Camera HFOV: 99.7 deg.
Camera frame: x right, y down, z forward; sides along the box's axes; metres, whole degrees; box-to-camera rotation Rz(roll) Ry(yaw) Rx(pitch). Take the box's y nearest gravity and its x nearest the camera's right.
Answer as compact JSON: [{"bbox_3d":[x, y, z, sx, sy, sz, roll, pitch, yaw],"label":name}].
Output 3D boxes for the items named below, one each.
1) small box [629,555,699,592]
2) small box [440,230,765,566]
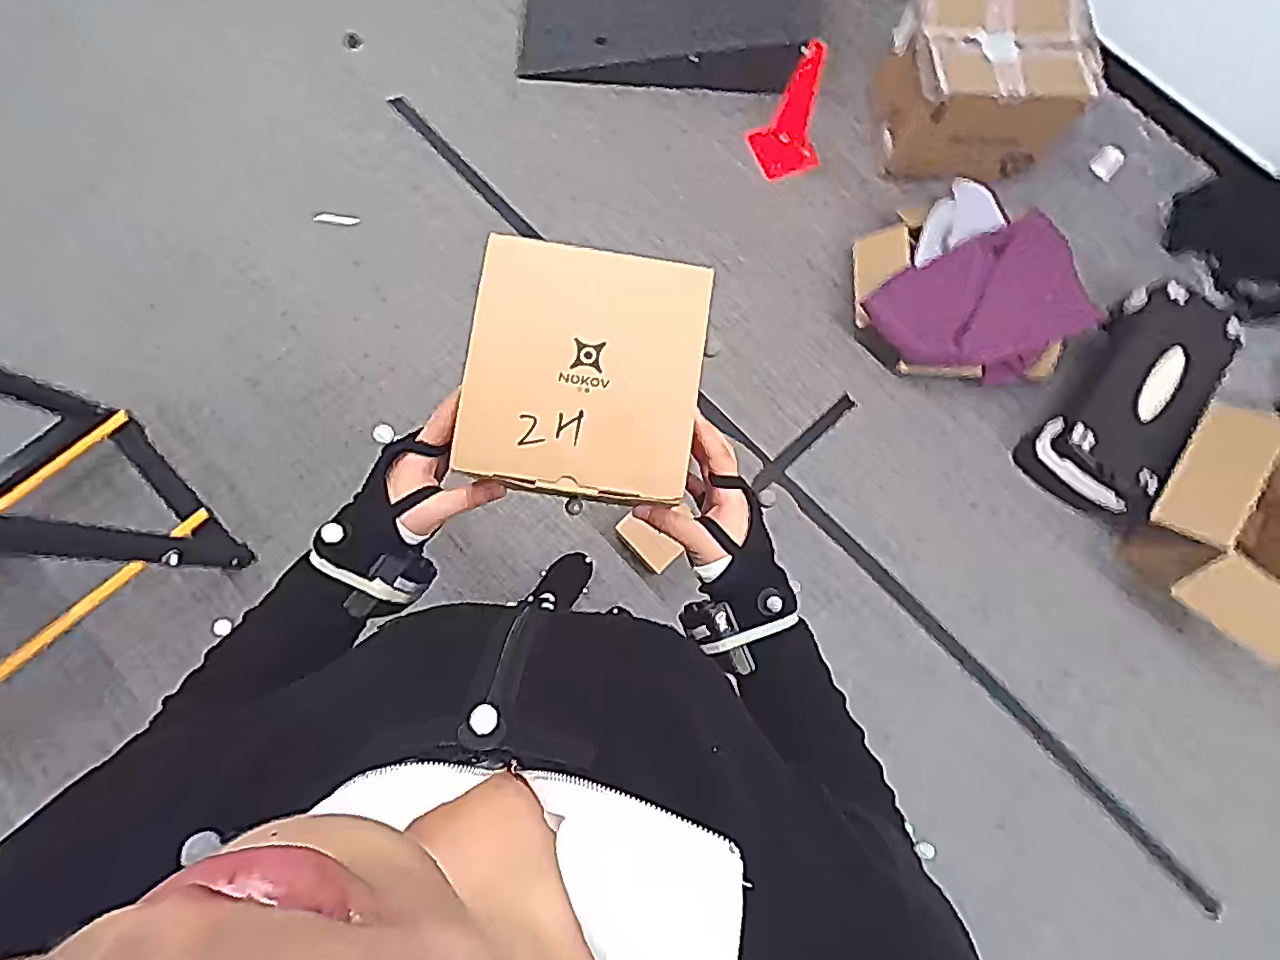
[{"bbox_3d":[0.073,0.167,1.381,0.179,0.176,0.168,-44,82,-9],"label":"small box"},{"bbox_3d":[-0.021,-0.040,0.379,0.168,0.176,0.179,6,85,-1],"label":"small box"}]
